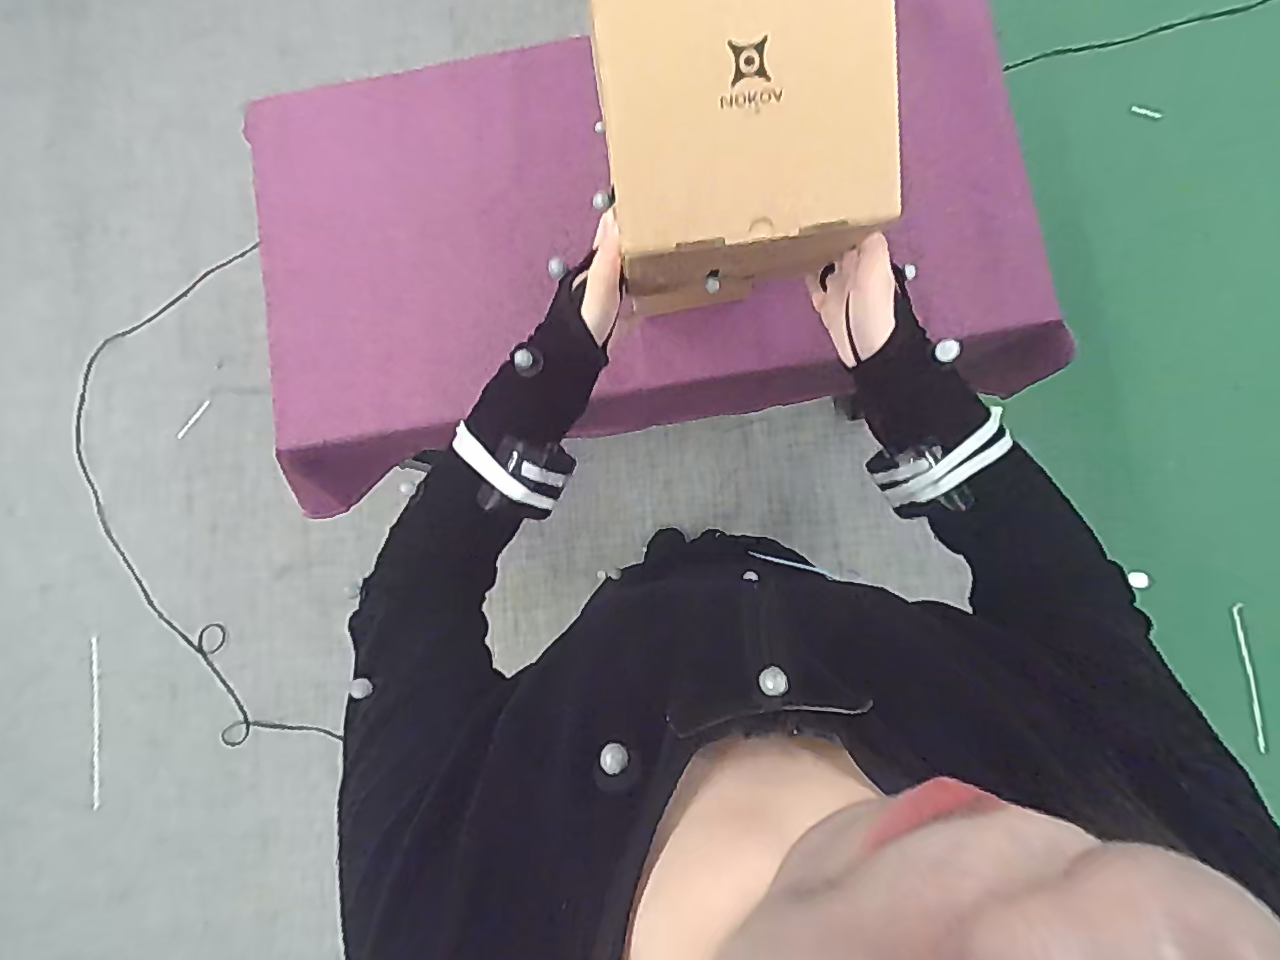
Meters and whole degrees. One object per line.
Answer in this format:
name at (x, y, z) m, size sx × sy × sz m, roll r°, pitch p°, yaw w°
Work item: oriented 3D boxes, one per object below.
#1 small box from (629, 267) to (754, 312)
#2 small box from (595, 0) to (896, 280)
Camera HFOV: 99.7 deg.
small box at (0.065, -0.356, 0.759) m, size 0.179 × 0.176 × 0.168 m, roll -9°, pitch 83°, yaw 3°
small box at (0.059, -0.256, 0.384) m, size 0.168 × 0.176 × 0.179 m, roll -7°, pitch 101°, yaw 0°
